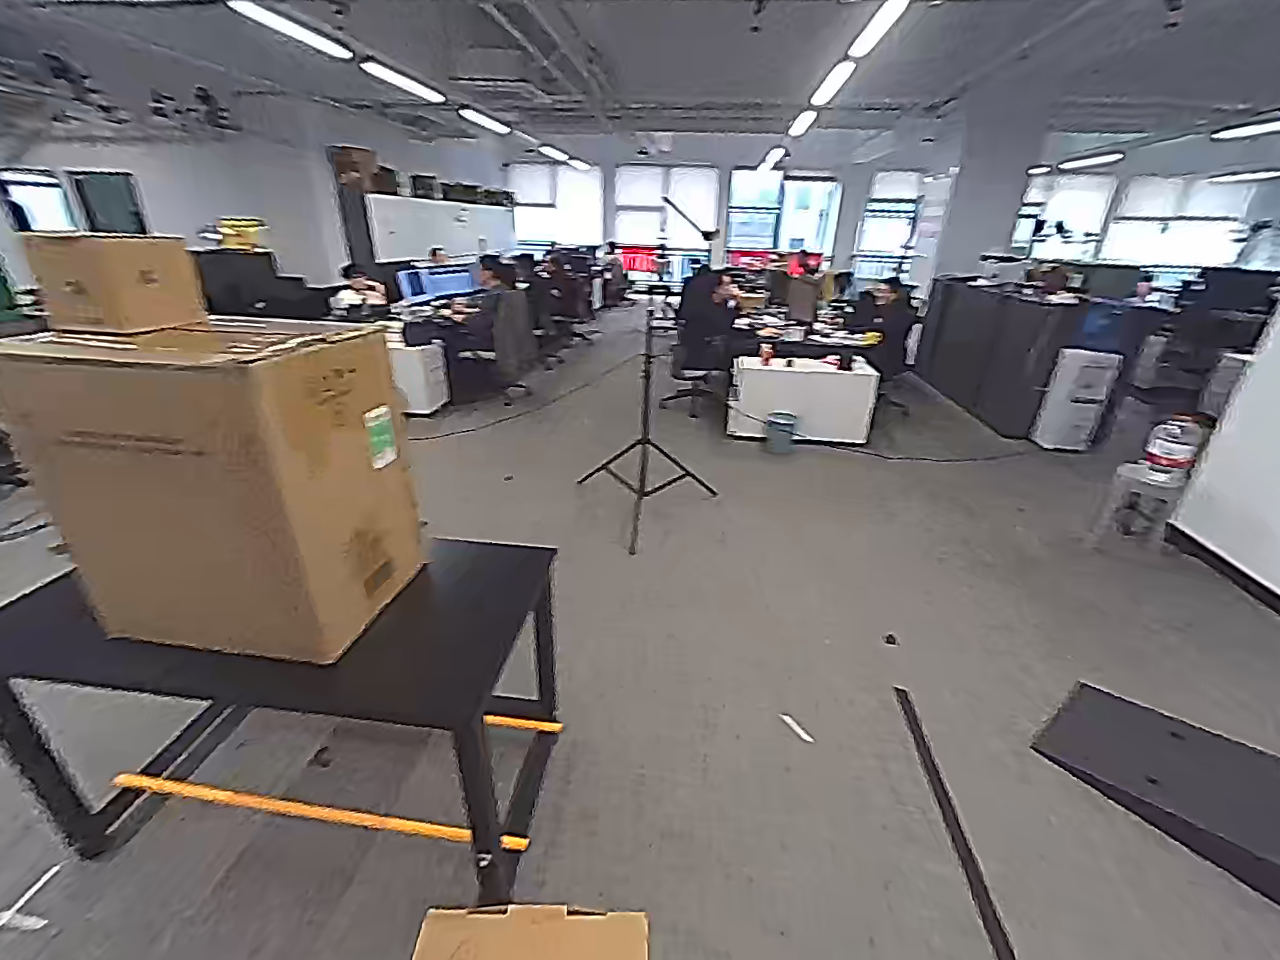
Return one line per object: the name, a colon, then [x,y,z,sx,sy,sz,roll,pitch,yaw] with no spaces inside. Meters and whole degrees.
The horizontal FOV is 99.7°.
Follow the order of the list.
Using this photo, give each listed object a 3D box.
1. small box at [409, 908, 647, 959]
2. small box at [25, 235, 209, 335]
small box: [-0.081,0.428,0.371,0.168,0.176,0.179,2,37,-2]
small box: [-0.999,-0.382,1.054,0.168,0.176,0.179,5,24,5]
